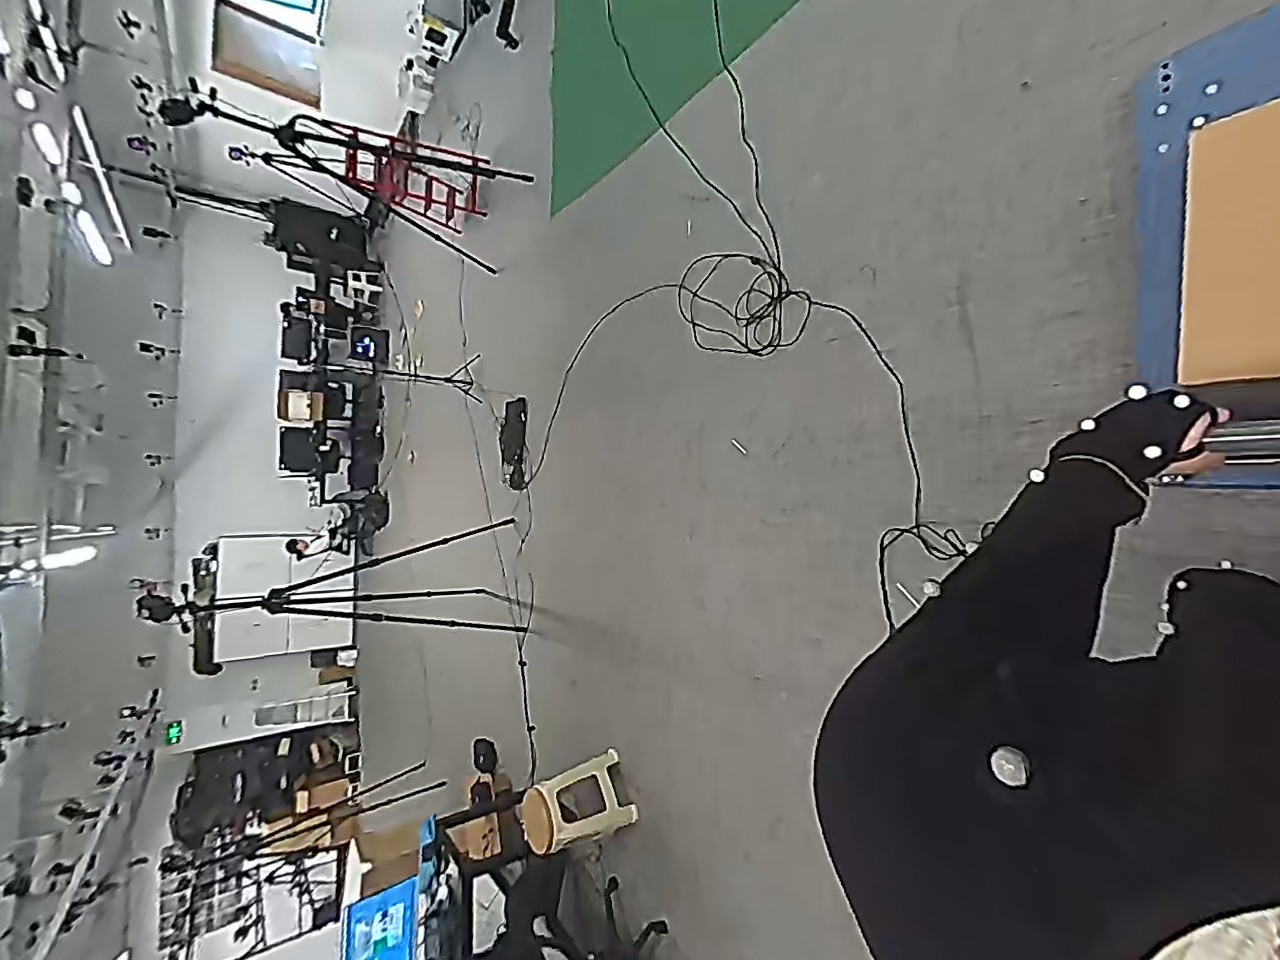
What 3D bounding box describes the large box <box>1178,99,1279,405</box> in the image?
[{"bbox_3d":[1.072,-0.344,0.822,0.320,0.320,0.408,2,90,53],"label":"large box"}]
